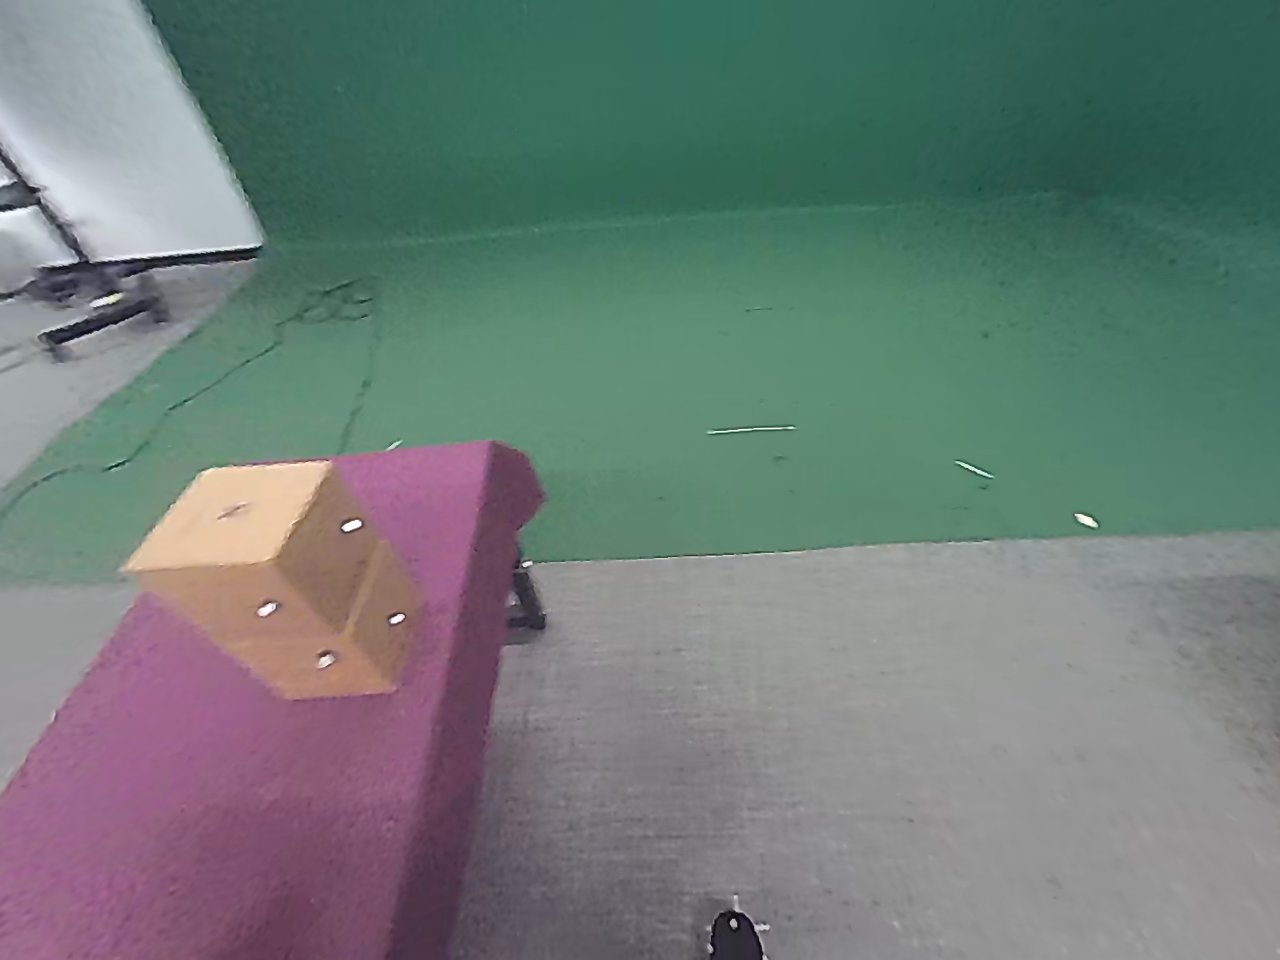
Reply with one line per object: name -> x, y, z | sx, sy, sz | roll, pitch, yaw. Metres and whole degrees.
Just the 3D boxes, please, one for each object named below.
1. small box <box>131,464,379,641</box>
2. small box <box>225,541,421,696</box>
small box -> -0.481, 0.098, 0.715 | 0.179, 0.176, 0.168 | -4, 44, 4
small box -> -0.463, 0.215, 0.829 | 0.179, 0.176, 0.168 | -5, 44, 2
